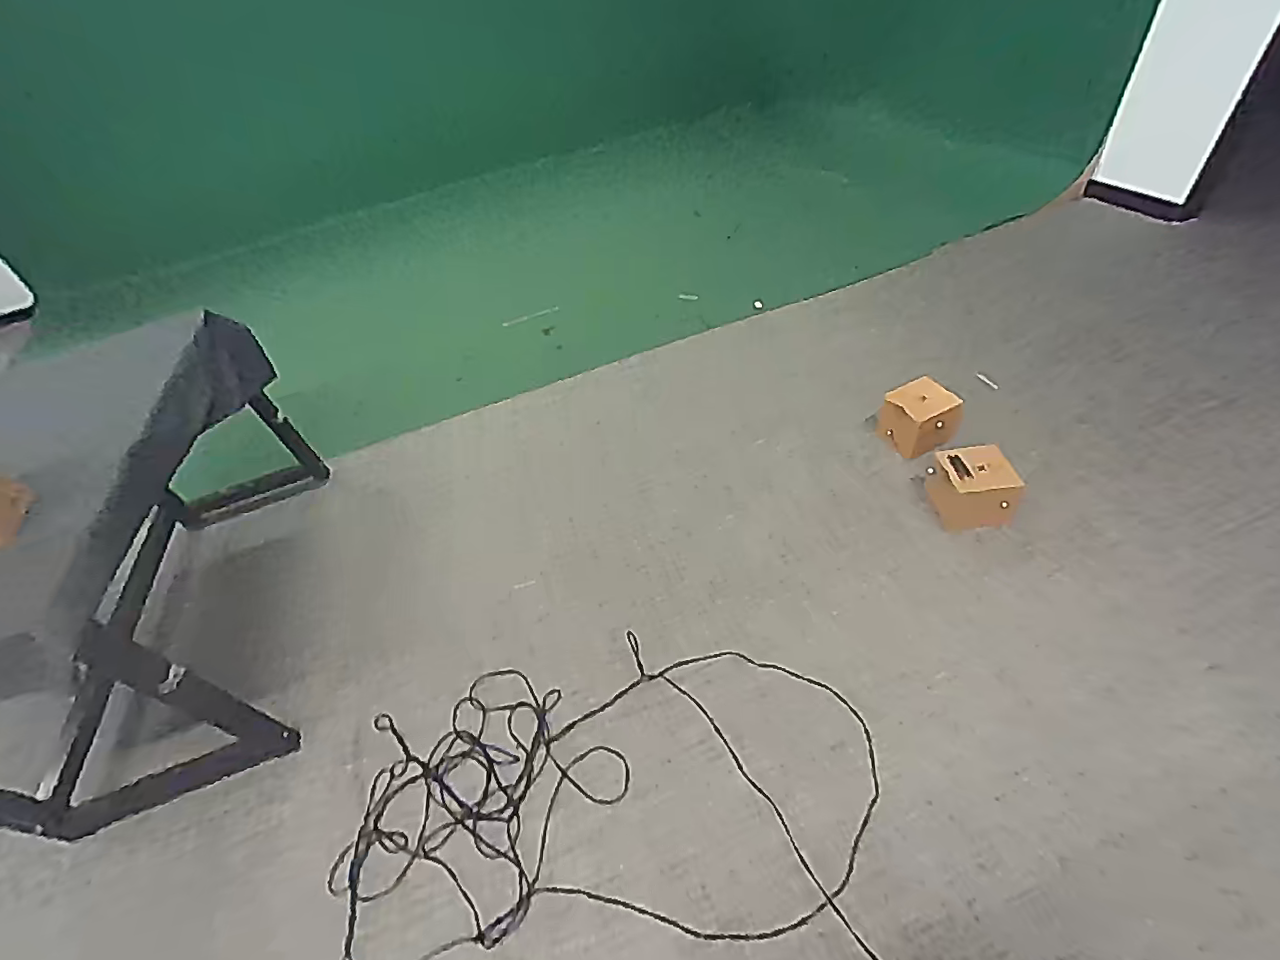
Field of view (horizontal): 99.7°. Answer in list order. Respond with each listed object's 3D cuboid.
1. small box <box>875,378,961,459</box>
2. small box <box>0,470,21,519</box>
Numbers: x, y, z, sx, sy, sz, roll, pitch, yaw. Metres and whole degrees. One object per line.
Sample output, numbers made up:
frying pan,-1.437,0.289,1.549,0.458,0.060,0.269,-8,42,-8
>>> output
small box,0.904,-0.200,1.776,0.179,0.176,0.168,-24,47,-10
small box,-1.359,0.038,1.021,0.179,0.176,0.168,-26,46,-11
